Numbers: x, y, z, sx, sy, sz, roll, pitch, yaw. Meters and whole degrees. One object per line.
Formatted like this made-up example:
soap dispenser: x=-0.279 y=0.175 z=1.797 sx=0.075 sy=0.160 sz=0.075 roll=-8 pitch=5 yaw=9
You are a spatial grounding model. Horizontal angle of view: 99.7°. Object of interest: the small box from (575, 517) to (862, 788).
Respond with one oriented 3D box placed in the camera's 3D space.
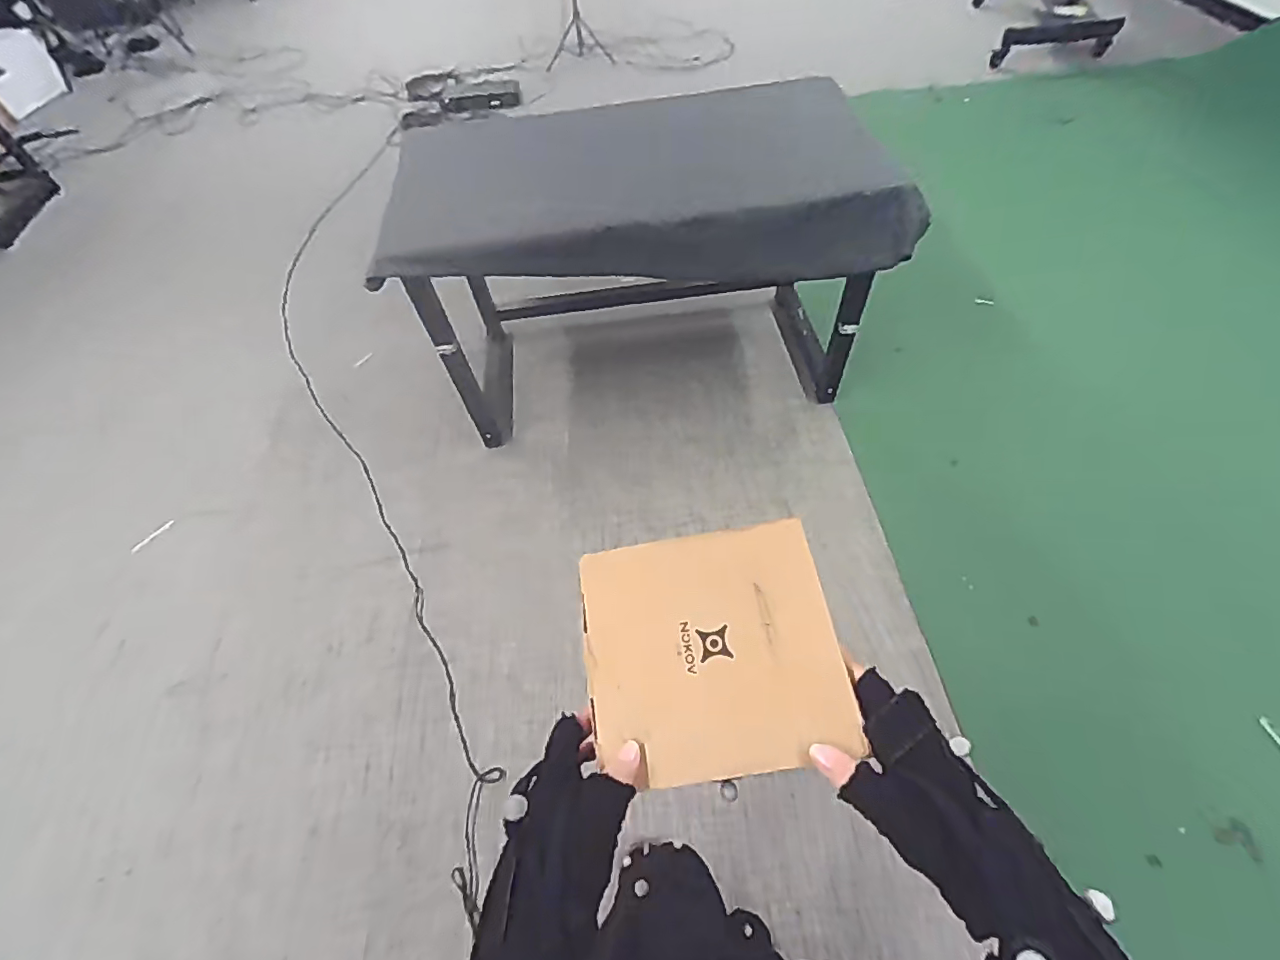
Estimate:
small box: x=0.053 y=0.150 z=0.450 sx=0.179 sy=0.176 sz=0.168 roll=-10 pitch=63 yaw=0
